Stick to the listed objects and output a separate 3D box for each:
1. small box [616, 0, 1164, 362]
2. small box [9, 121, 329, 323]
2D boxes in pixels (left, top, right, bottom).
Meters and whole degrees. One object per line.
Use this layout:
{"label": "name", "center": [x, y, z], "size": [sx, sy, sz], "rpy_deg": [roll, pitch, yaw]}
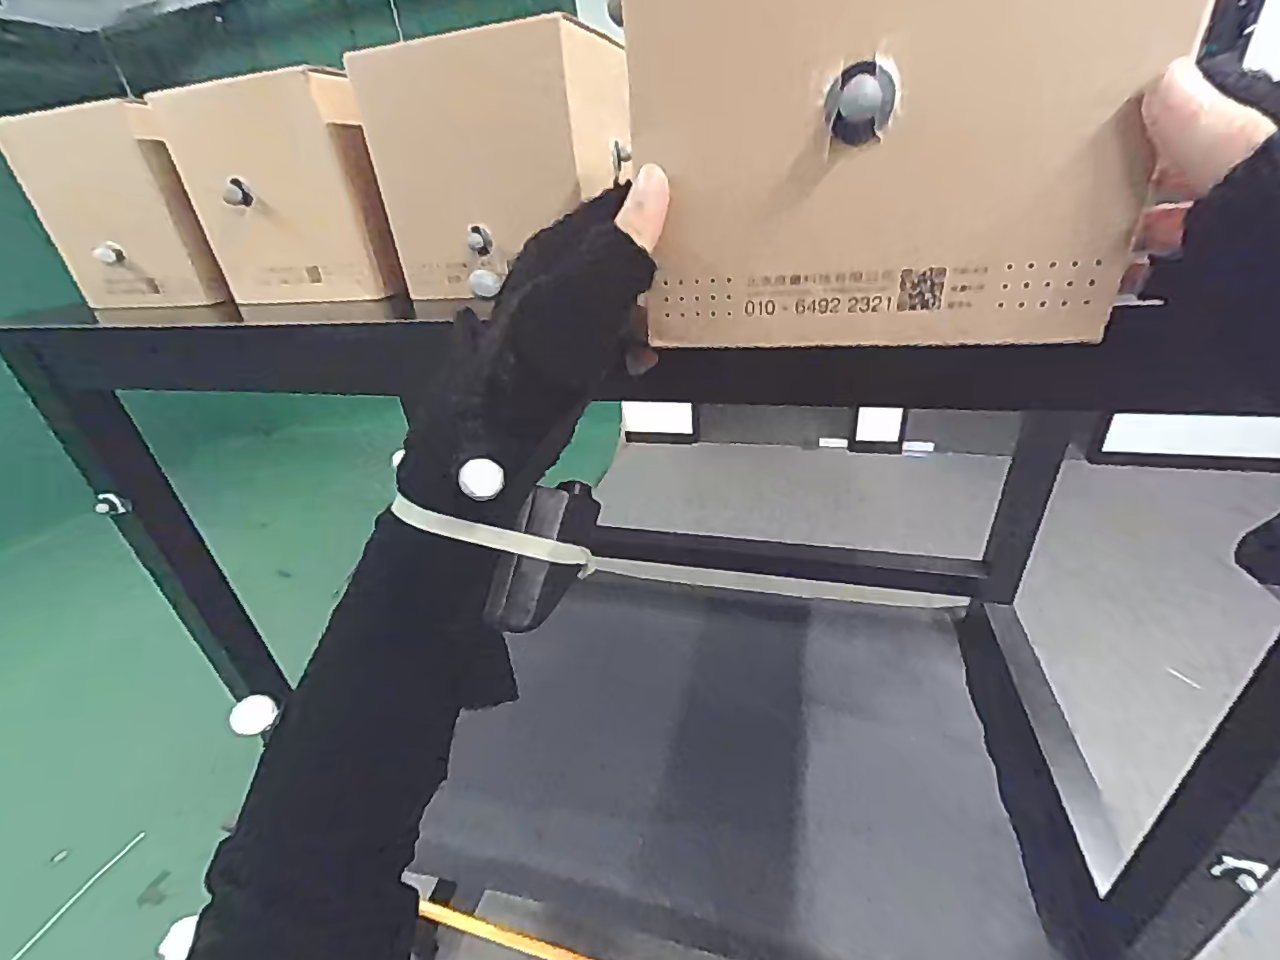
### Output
{"label": "small box", "center": [0.097, -0.157, 0.249], "size": [0.168, 0.176, 0.179], "rpy_deg": [4, 29, 16]}
{"label": "small box", "center": [-0.474, -0.274, 0.583], "size": [0.168, 0.176, 0.179], "rpy_deg": [3, 31, 16]}
